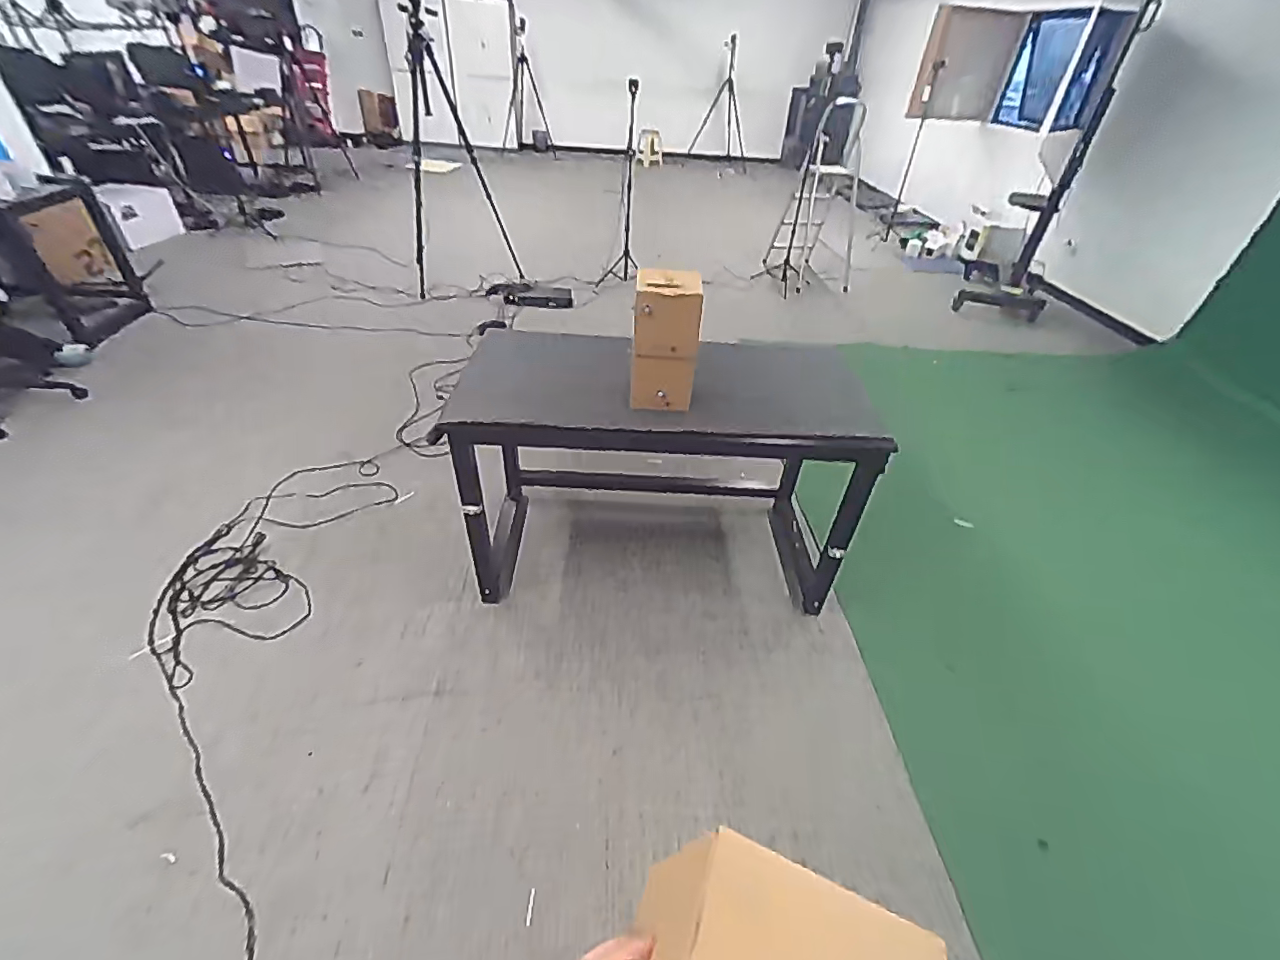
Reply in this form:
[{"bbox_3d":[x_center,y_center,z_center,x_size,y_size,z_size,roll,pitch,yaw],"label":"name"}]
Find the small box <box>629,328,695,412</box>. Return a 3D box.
[{"bbox_3d":[0.058,-0.310,1.514,0.168,0.176,0.179,3,38,-1],"label":"small box"}]
